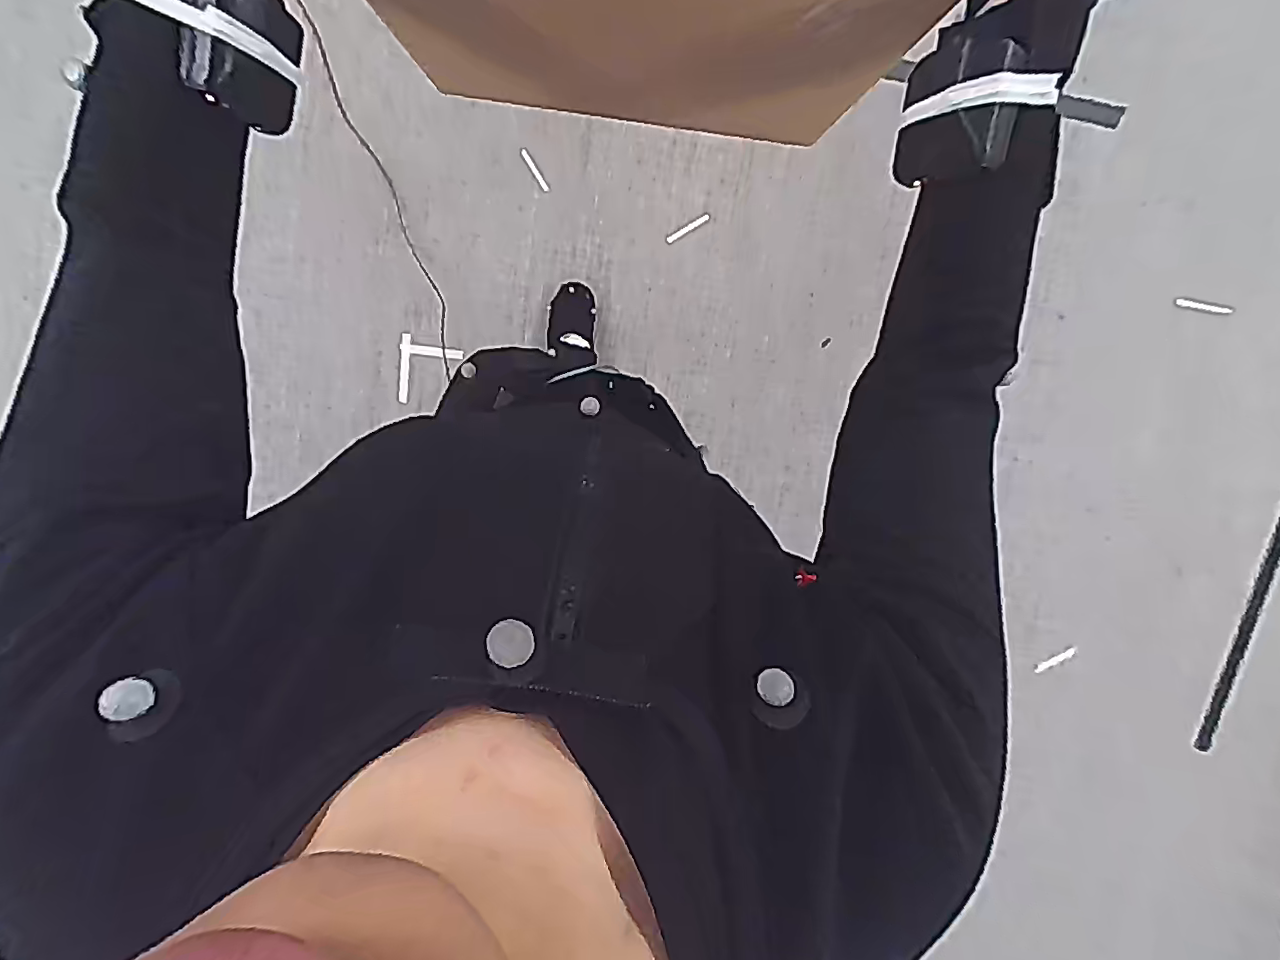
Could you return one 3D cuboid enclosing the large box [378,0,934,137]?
[{"bbox_3d":[0.007,-0.498,0.404,0.408,0.320,0.320,6,107,-3],"label":"large box"}]
